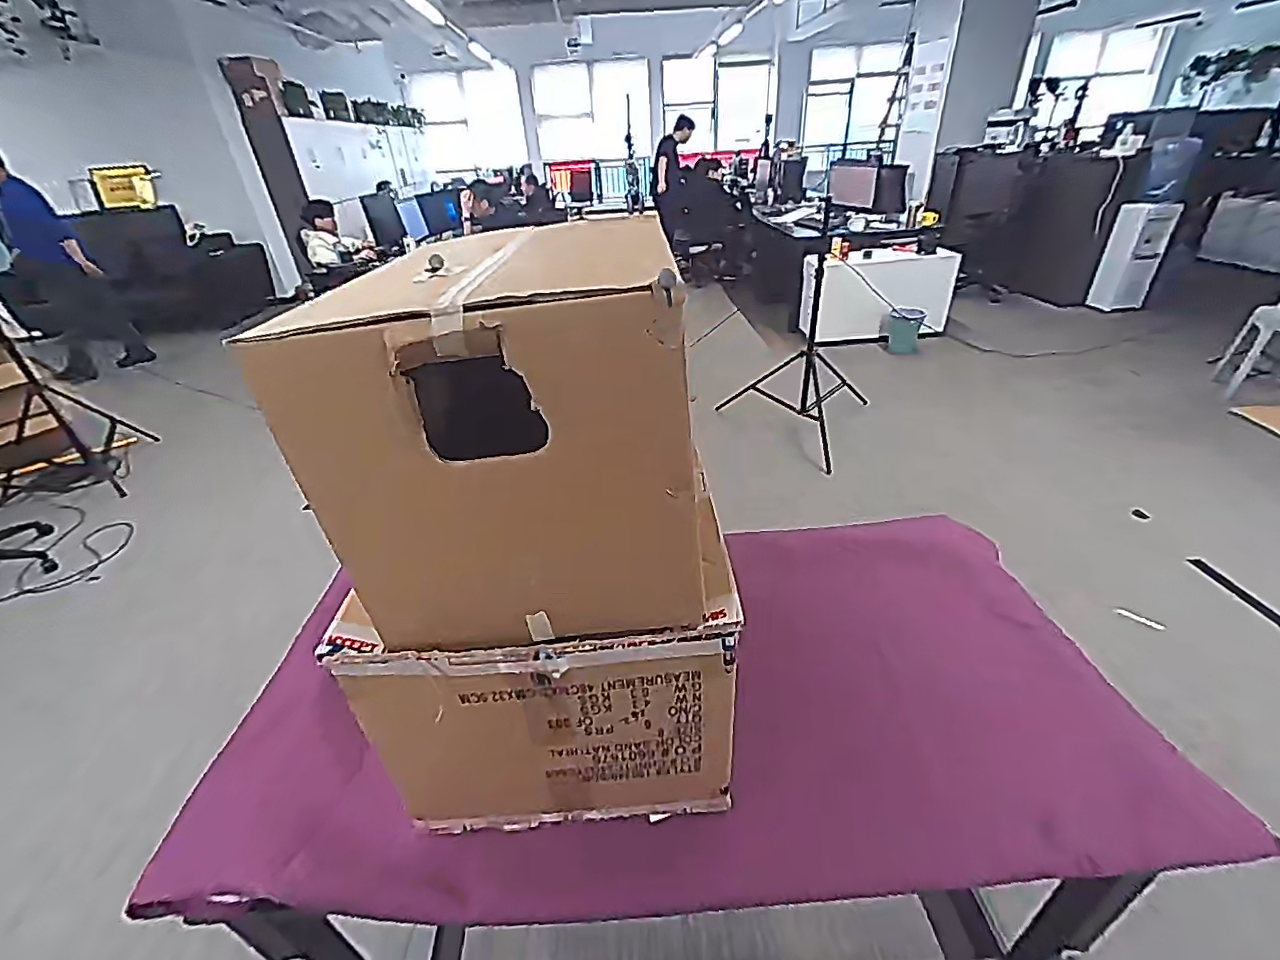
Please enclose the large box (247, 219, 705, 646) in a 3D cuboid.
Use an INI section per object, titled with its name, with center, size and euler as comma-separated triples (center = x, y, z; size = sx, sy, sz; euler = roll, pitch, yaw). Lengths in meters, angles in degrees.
[large box]
center = -0.111, -0.084, 0.608
size = 0.320, 0.320, 0.408
euler = -8, 32, 3
